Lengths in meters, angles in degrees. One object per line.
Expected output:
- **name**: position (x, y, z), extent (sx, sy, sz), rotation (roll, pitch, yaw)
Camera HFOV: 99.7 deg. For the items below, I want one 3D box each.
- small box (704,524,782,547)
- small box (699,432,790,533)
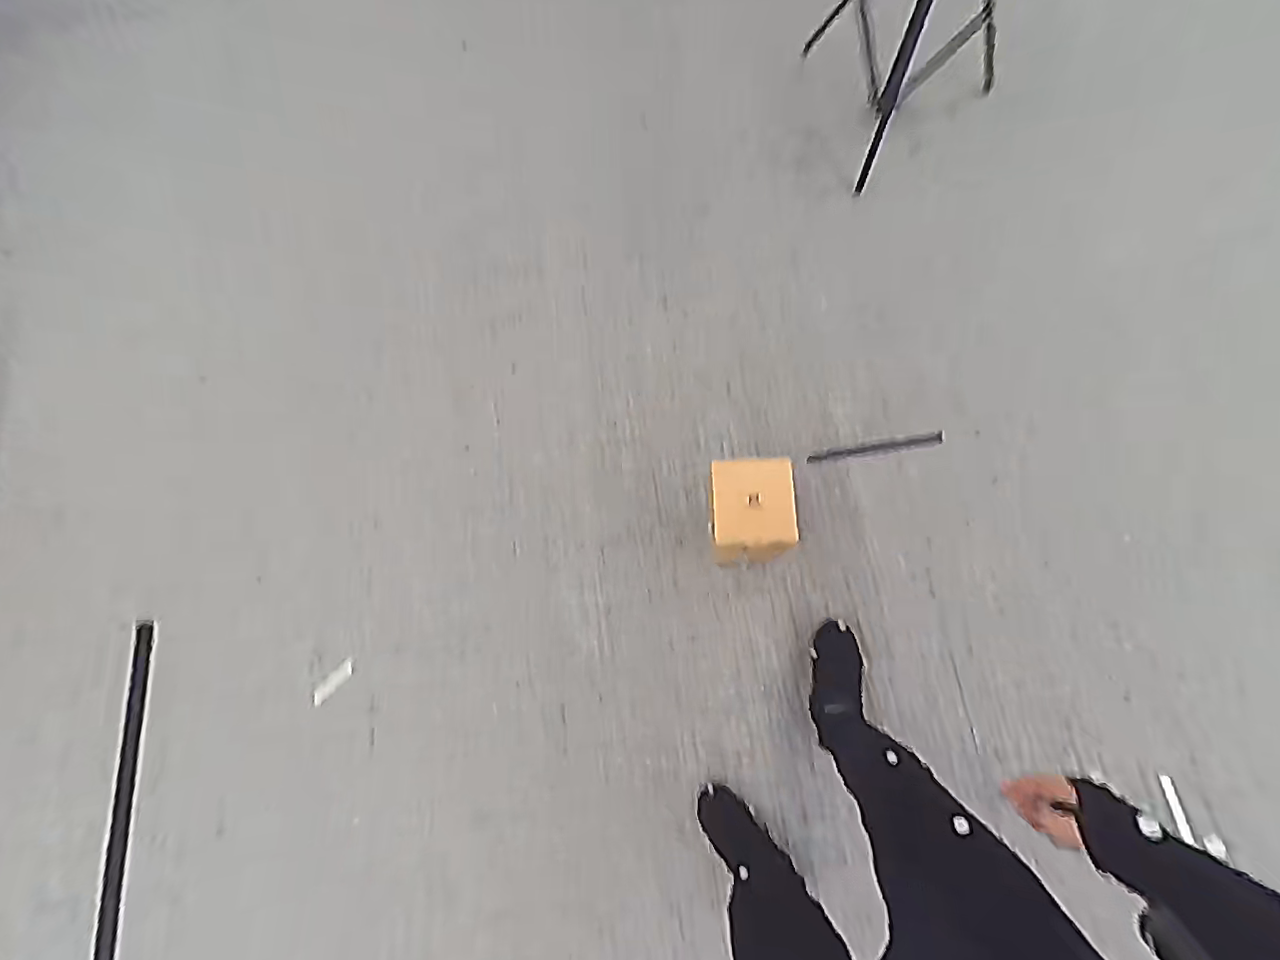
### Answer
- **small box**: position (0.235, 0.056, 1.298), extent (0.168, 0.176, 0.179), rotation (-6, 74, 3)
- **small box**: position (0.212, 0.011, 1.144), extent (0.168, 0.176, 0.179), rotation (-3, 75, 4)
